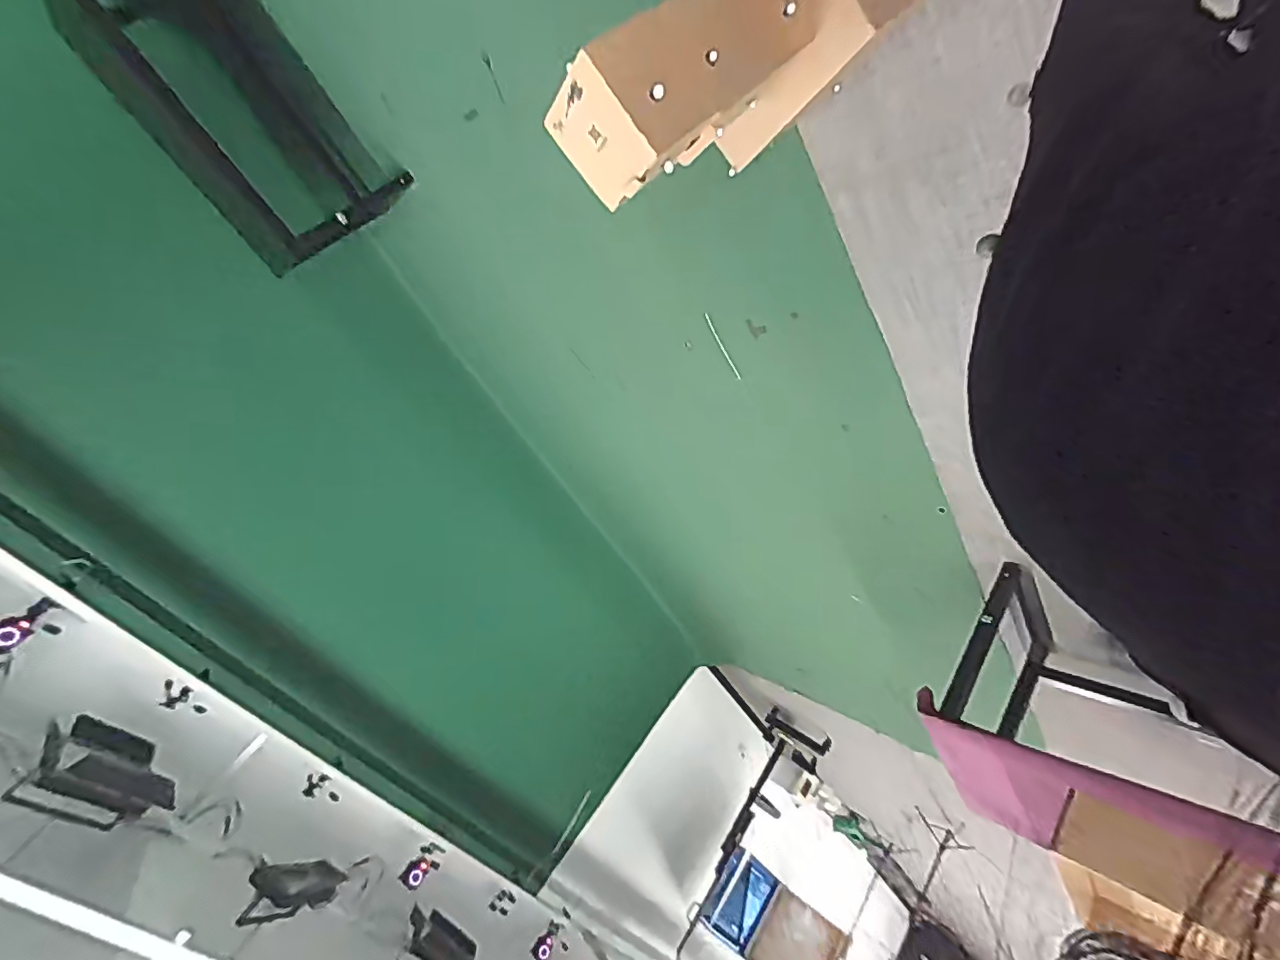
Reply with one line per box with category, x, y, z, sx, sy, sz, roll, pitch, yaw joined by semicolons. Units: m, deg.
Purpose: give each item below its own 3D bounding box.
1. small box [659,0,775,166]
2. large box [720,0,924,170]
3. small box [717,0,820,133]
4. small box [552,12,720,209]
small box;0.100;-0.704;0.940;0.179;0.176;0.168;49;156;-18
large box;0.338;-0.974;1.137;0.320;0.320;0.408;49;157;-12
small box;0.199;-0.812;1.015;0.168;0.176;0.179;48;156;-16
small box;-0.004;-0.593;0.878;0.179;0.176;0.168;47;156;-17
